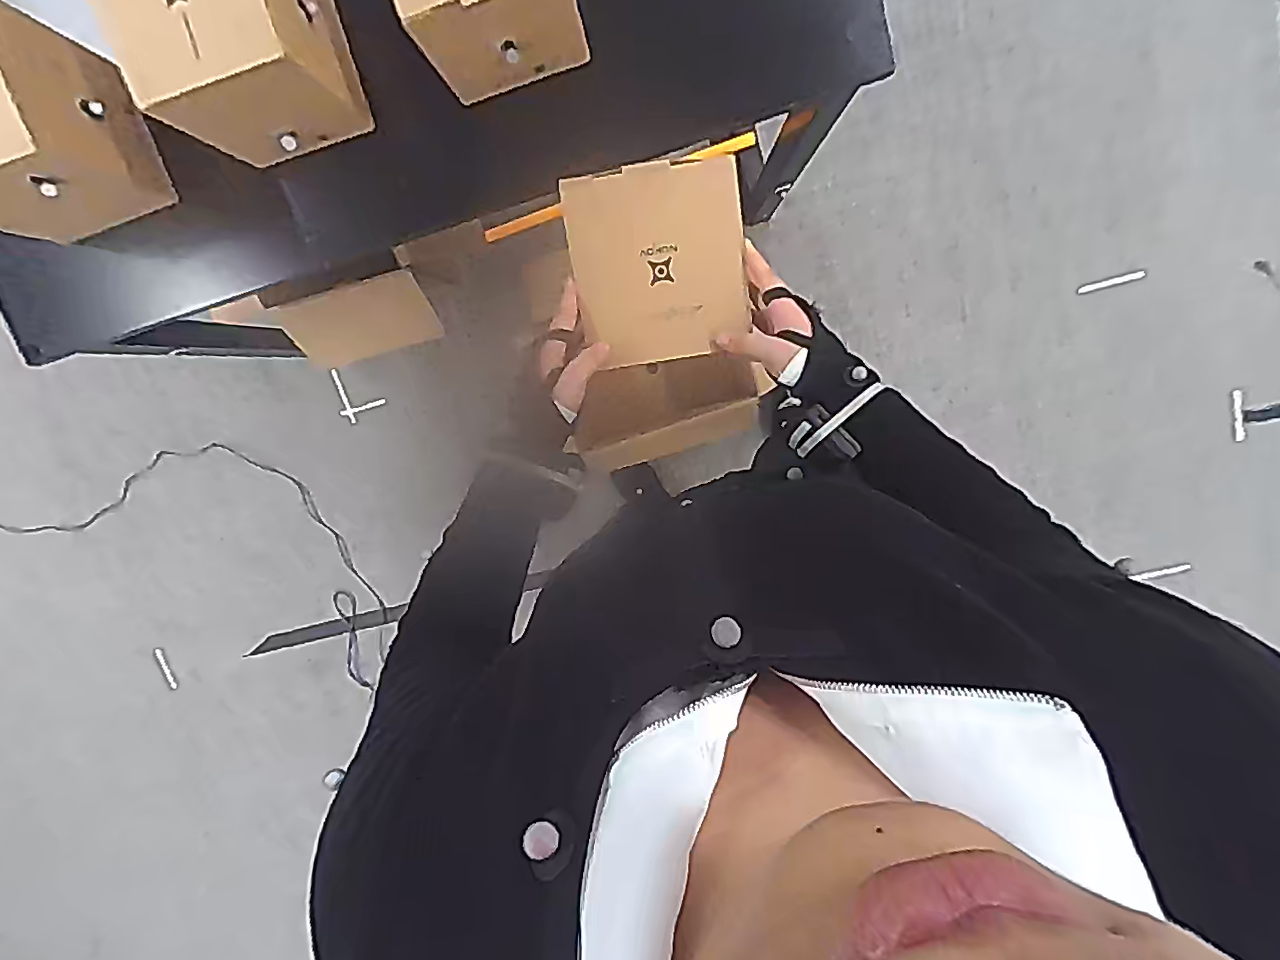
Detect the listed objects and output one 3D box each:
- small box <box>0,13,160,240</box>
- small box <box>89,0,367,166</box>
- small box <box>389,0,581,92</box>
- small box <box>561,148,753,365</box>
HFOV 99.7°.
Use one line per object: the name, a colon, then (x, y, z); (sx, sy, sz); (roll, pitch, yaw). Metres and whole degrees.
small box: (-0.708, -0.397, 0.614); (0.179, 0.176, 0.168); (-16, 100, 5)
small box: (-0.437, -0.481, 0.587); (0.168, 0.176, 0.179); (-15, 101, 6)
small box: (-0.170, -0.545, 0.563); (0.168, 0.176, 0.179); (-15, 101, 6)
small box: (0.014, -0.227, 0.591); (0.168, 0.176, 0.179); (-10, 105, -1)
